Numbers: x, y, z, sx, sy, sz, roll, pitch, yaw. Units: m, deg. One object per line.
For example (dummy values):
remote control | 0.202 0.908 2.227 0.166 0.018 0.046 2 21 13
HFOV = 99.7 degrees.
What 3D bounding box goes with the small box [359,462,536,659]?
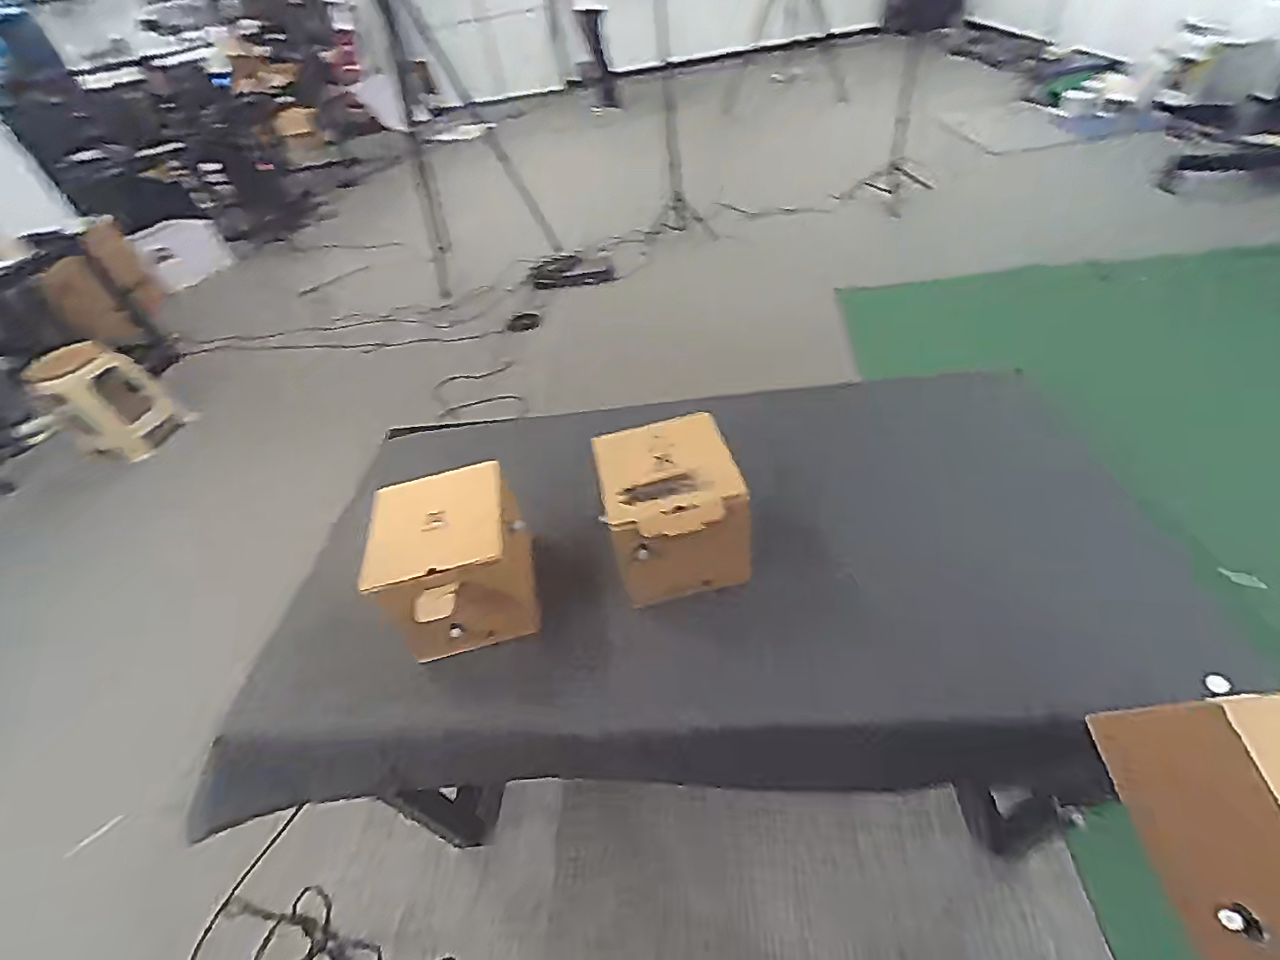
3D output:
small box | -0.245 0.108 0.727 0.168 0.176 0.179 -15 44 -4
